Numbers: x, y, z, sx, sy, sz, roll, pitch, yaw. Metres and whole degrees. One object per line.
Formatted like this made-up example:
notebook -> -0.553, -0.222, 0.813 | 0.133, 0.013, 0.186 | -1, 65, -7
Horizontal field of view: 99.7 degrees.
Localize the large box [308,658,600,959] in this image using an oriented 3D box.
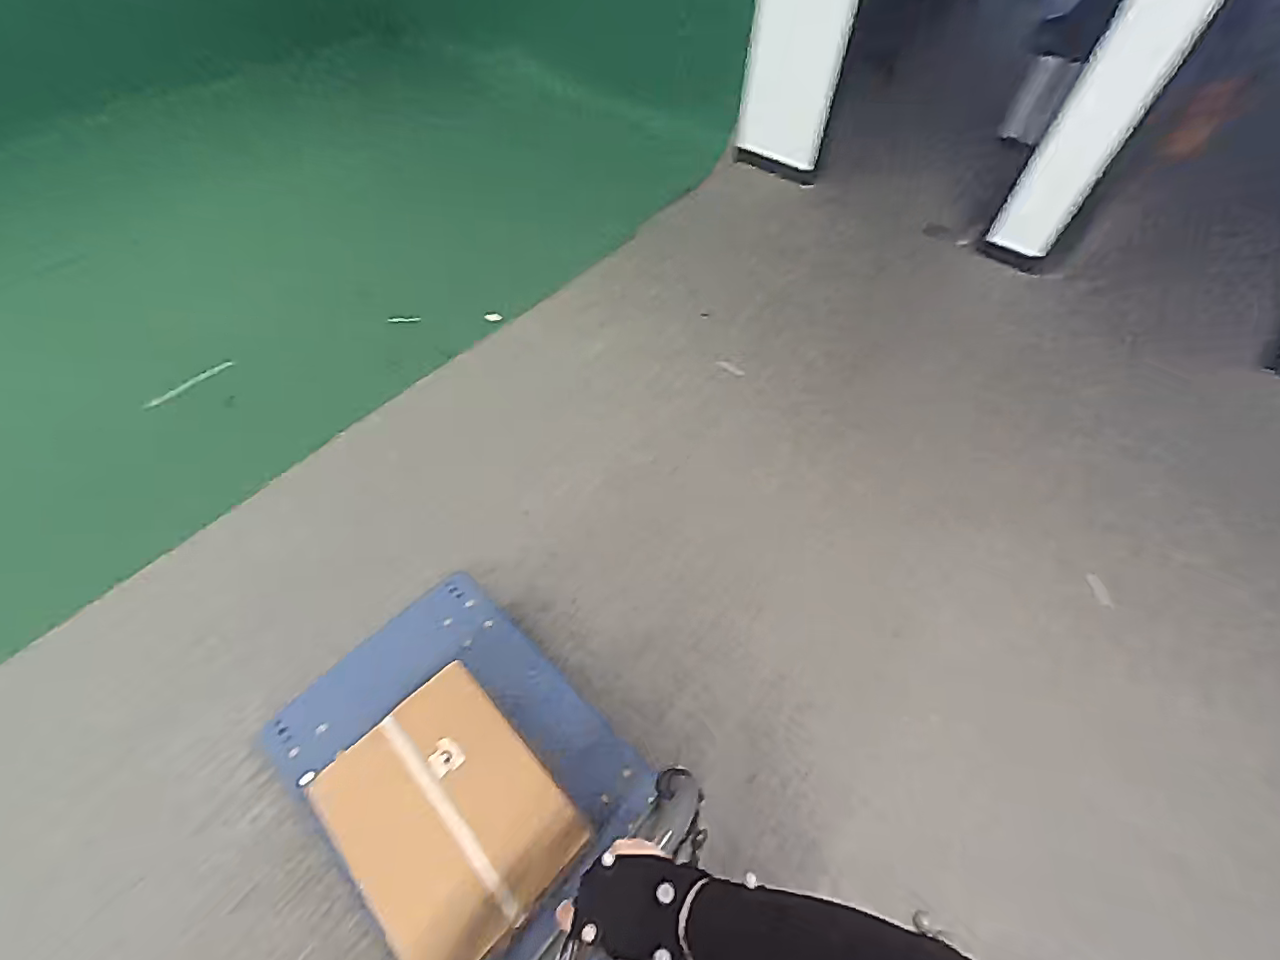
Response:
large box -> -0.327, 0.629, 1.037 | 0.320, 0.320, 0.408 | -38, 64, -23
